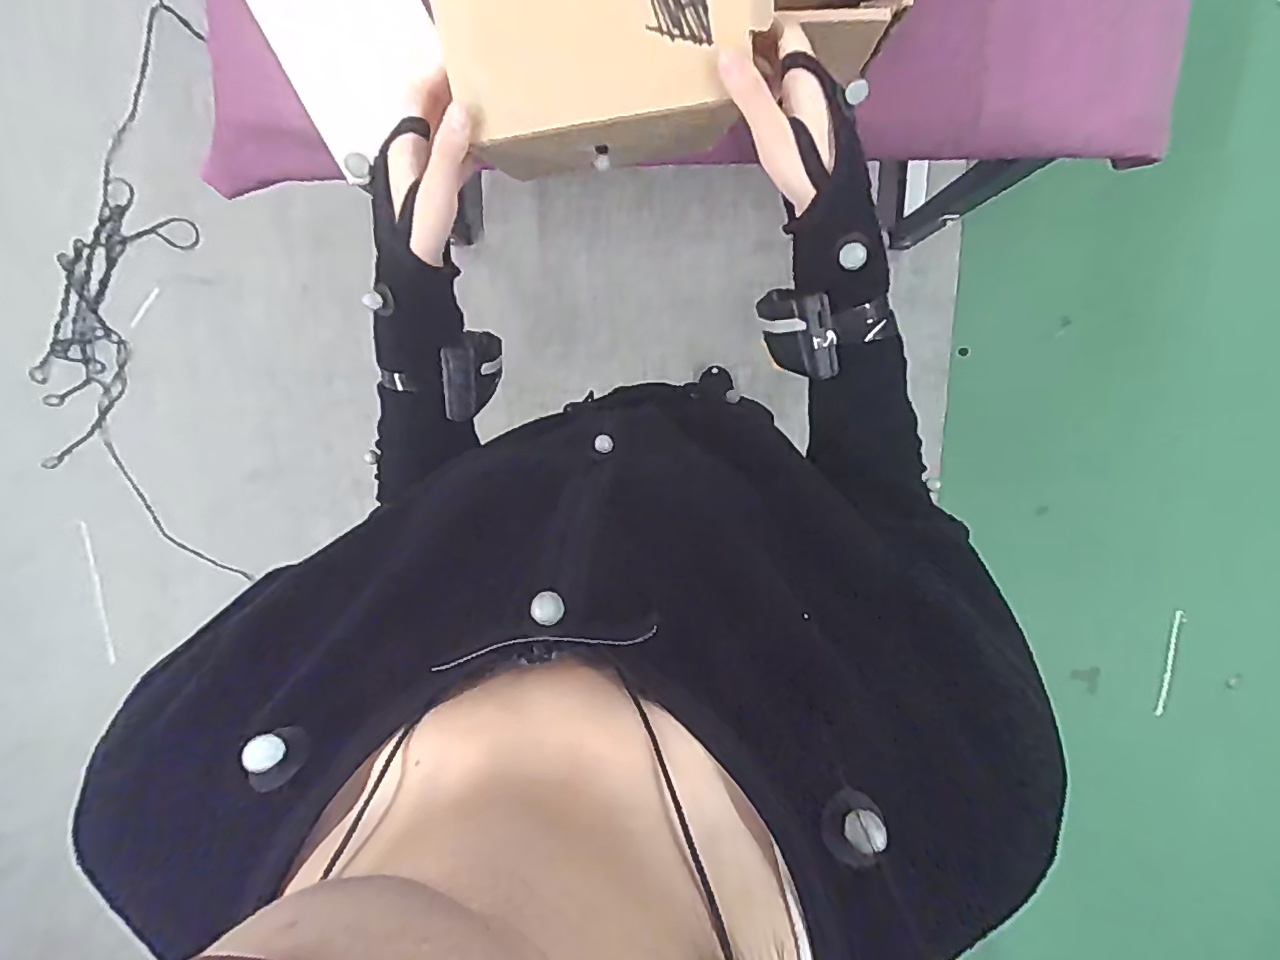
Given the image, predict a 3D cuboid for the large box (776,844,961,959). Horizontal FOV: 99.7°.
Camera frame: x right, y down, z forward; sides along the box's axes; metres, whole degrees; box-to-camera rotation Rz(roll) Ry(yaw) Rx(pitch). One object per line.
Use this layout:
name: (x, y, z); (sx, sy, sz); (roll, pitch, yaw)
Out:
large box: (0.638, 1.308, 1.522); (0.408, 0.320, 0.320); (-14, 99, 5)

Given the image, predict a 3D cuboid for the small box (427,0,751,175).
small box: (-0.034, -0.316, 0.358); (0.179, 0.176, 0.168); (-8, 112, 3)
